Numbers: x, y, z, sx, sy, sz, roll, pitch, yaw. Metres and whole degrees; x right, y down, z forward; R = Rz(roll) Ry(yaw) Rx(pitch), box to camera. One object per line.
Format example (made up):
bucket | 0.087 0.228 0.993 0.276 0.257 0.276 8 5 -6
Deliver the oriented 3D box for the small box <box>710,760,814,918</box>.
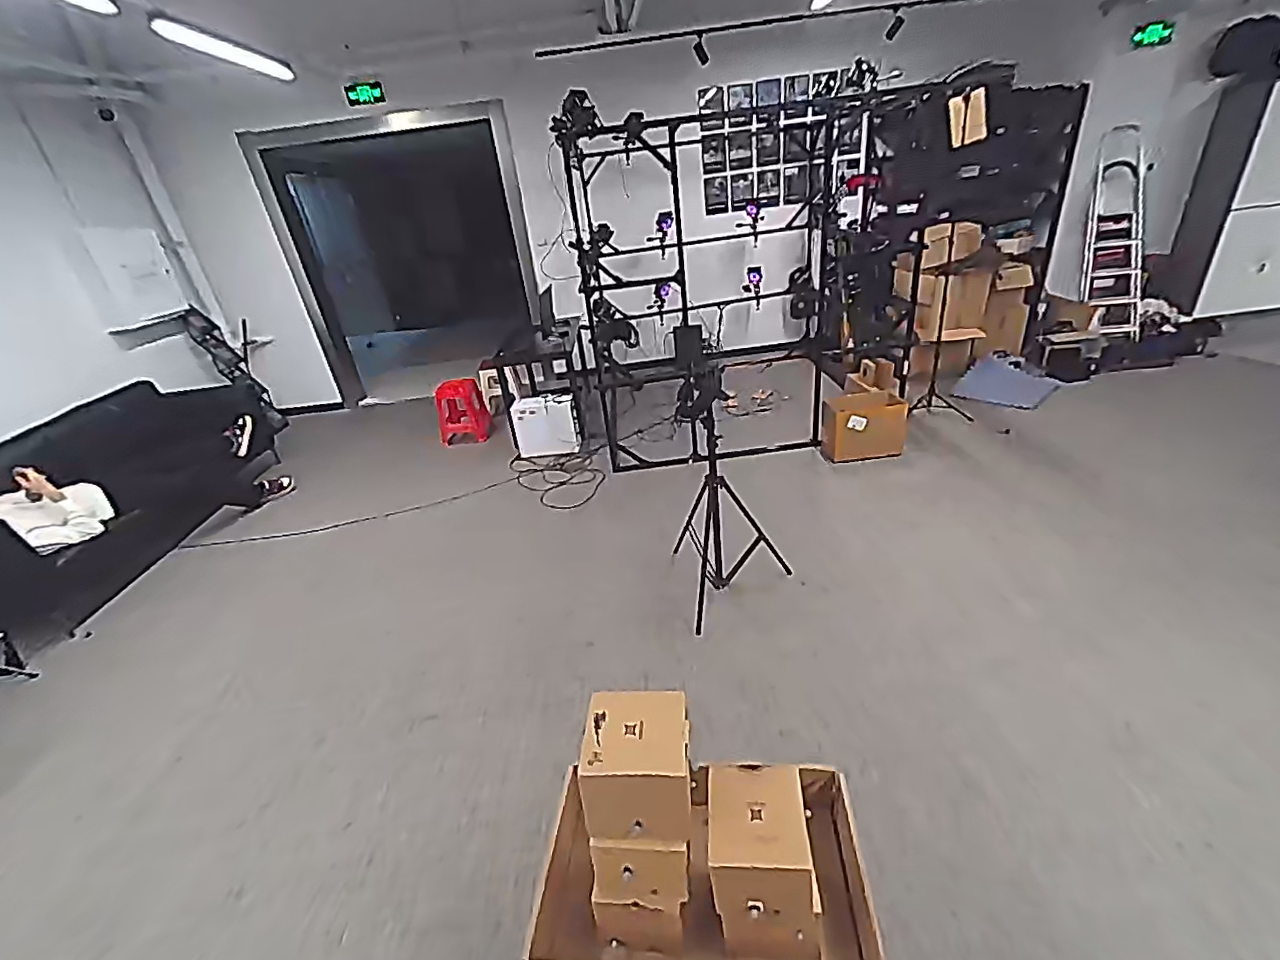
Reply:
small box | 0.215 0.635 0.967 0.168 0.176 0.179 -5 27 10

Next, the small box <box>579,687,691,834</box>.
small box | 0.001 0.491 0.950 0.179 0.176 0.168 -1 27 6

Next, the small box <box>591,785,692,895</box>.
small box | 0.013 0.640 1.017 0.168 0.176 0.179 -1 27 7
